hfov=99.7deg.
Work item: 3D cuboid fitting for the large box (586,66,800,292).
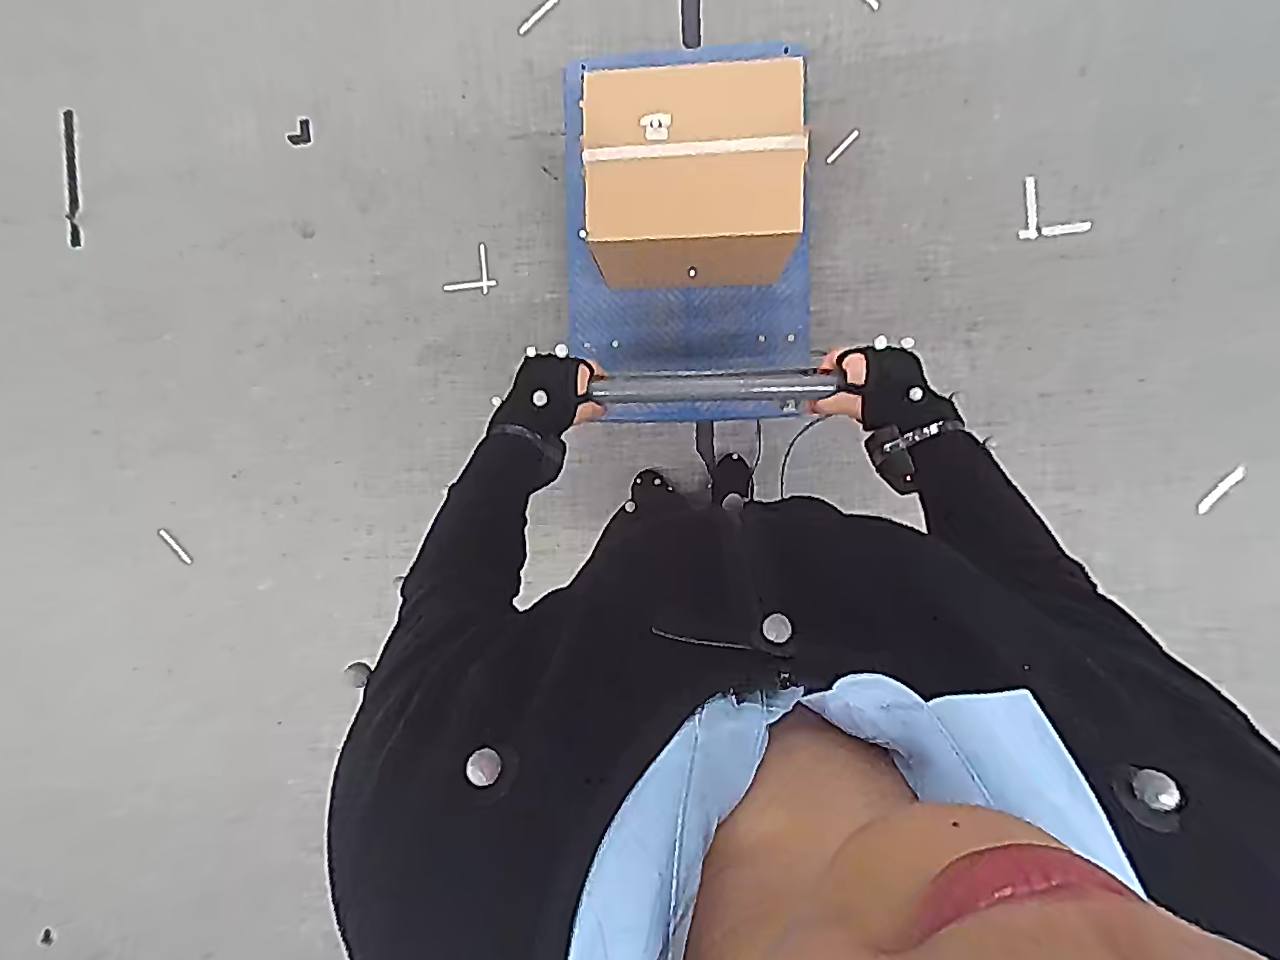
[{"bbox_3d":[0.114,-0.614,1.170,0.408,0.320,0.320,-1,91,6],"label":"large box"}]
